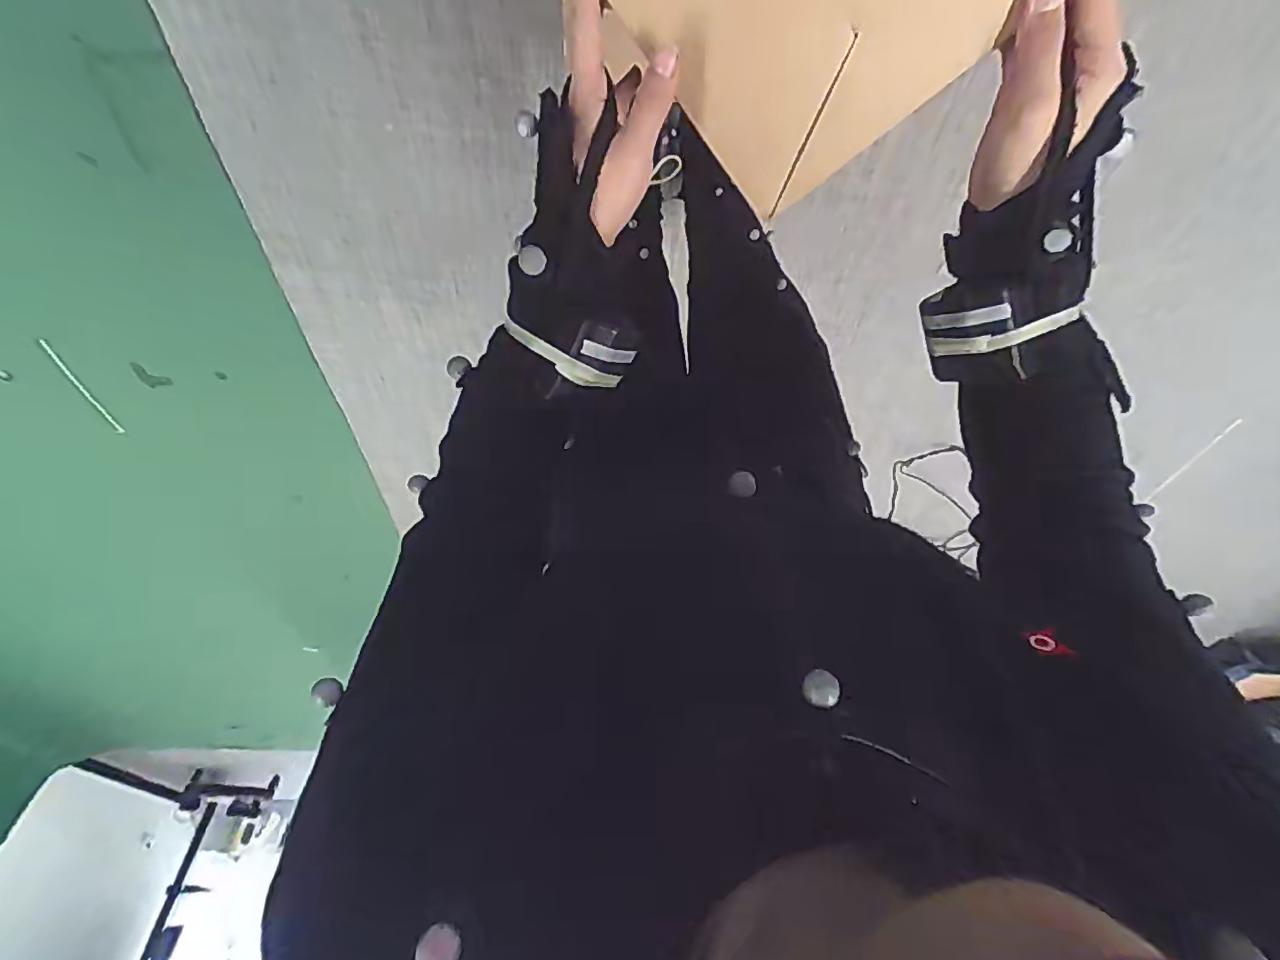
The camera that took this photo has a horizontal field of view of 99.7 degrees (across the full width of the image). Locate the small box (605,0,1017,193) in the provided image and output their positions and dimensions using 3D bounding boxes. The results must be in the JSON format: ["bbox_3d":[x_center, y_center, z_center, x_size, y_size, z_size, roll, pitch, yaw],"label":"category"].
[{"bbox_3d":[0.092,-0.313,0.316,0.179,0.176,0.168,-29,129,32],"label":"small box"}]
